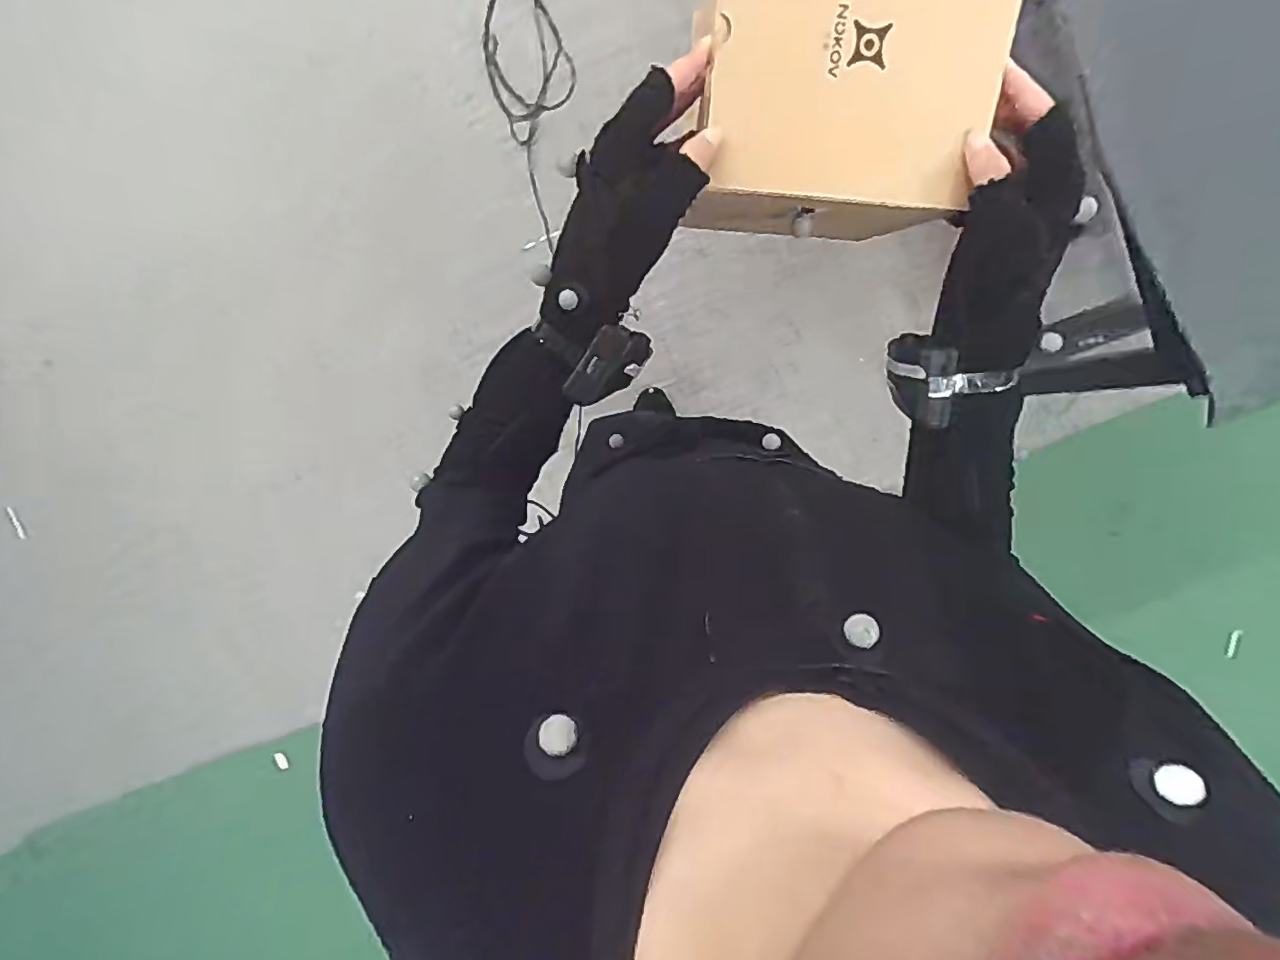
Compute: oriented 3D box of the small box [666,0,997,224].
[{"bbox_3d":[0.114,-0.284,0.384,0.179,0.176,0.168,3,108,0],"label":"small box"}]
